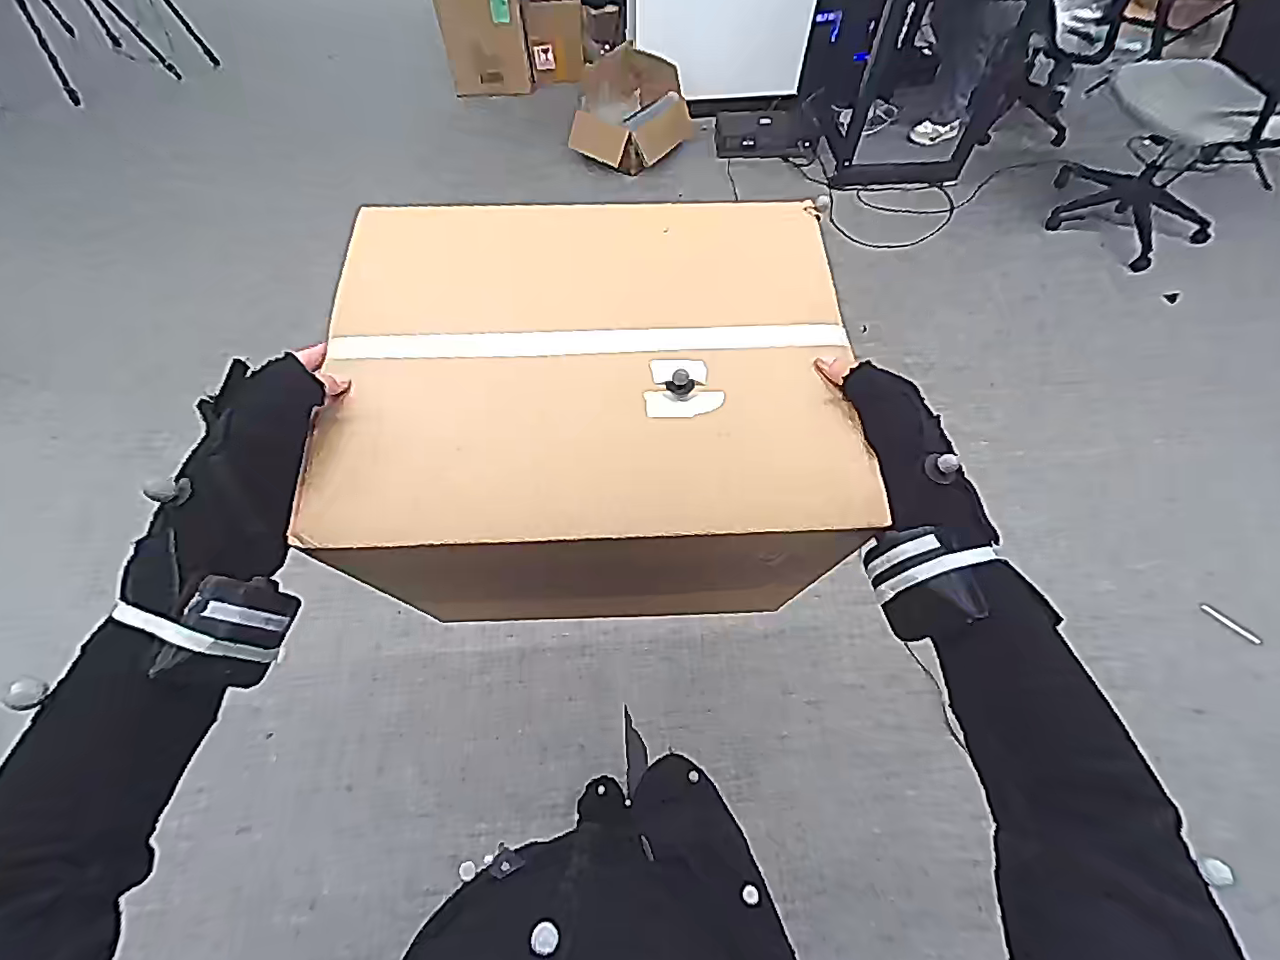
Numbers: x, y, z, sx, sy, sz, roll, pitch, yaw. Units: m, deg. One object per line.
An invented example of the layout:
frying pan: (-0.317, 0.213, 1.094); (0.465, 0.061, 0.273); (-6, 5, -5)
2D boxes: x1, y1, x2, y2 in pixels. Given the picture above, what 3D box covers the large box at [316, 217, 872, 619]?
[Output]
large box: (-0.040, -0.042, 0.577); (0.408, 0.320, 0.320); (-2, 66, -2)
